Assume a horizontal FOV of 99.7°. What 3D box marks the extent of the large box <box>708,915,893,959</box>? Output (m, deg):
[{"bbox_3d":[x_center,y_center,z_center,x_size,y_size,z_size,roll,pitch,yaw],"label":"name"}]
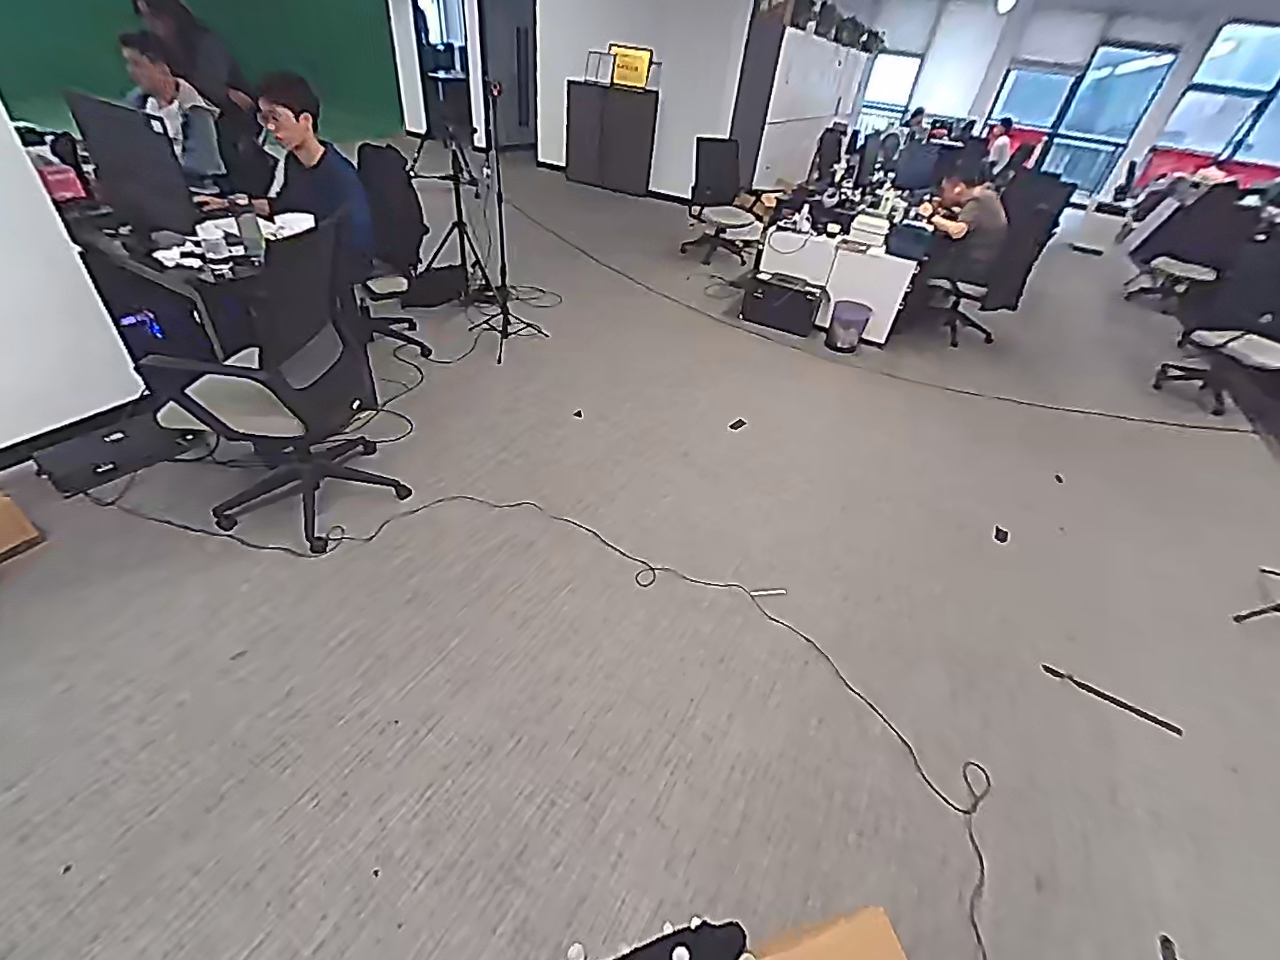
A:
[{"bbox_3d":[0.149,0.727,0.523,0.320,0.320,0.408,-11,51,-13],"label":"large box"}]
